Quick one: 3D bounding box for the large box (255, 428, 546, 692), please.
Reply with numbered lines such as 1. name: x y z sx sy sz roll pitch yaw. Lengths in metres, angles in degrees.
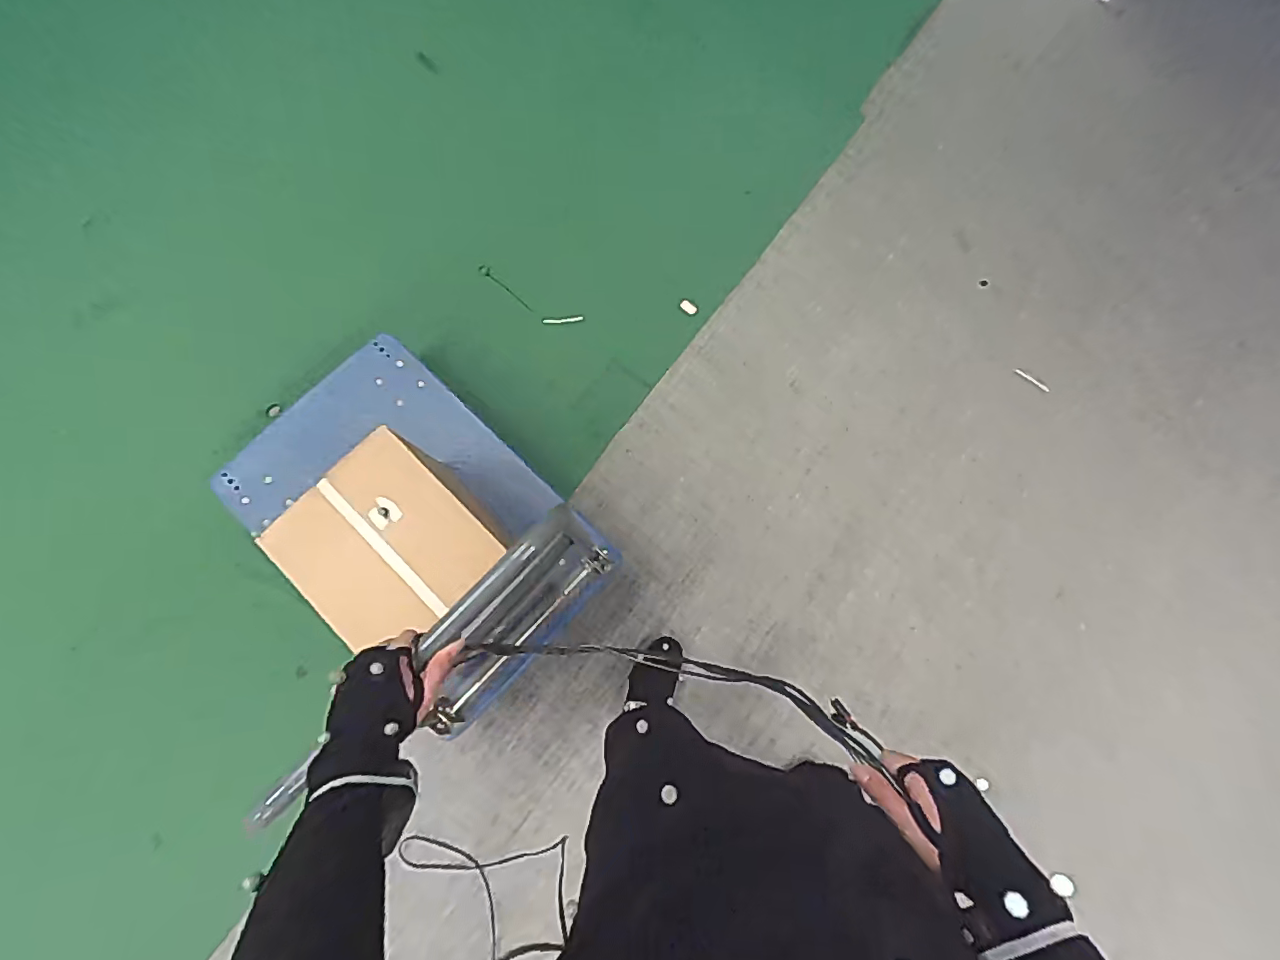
1. large box: -0.463 0.166 1.135 0.408 0.320 0.320 44 80 8
